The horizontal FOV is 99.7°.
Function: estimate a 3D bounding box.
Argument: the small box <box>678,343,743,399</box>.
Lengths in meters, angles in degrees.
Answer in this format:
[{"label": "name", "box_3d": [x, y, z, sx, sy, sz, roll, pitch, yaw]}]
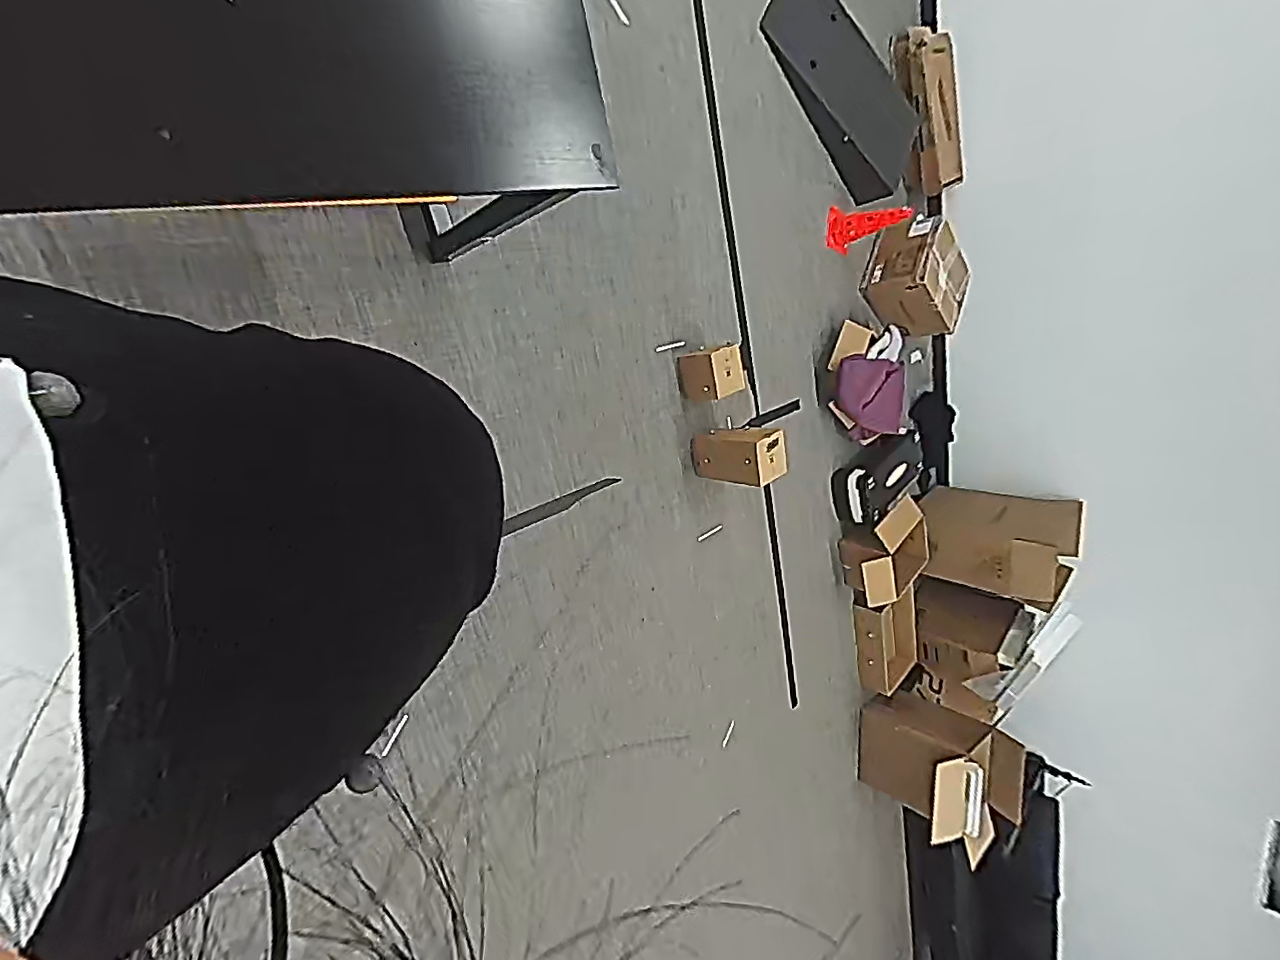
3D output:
[{"label": "small box", "box_3d": [0.271, -0.419, 2.083, 0.168, 0.176, 0.179, -27, 113, -36]}]

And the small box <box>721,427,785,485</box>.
[{"label": "small box", "box_3d": [0.424, -0.097, 2.044, 0.168, 0.176, 0.179, -25, 113, -36]}]

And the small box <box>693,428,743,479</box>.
[{"label": "small box", "box_3d": [0.330, -0.111, 2.181, 0.179, 0.176, 0.168, -22, 111, -36]}]
